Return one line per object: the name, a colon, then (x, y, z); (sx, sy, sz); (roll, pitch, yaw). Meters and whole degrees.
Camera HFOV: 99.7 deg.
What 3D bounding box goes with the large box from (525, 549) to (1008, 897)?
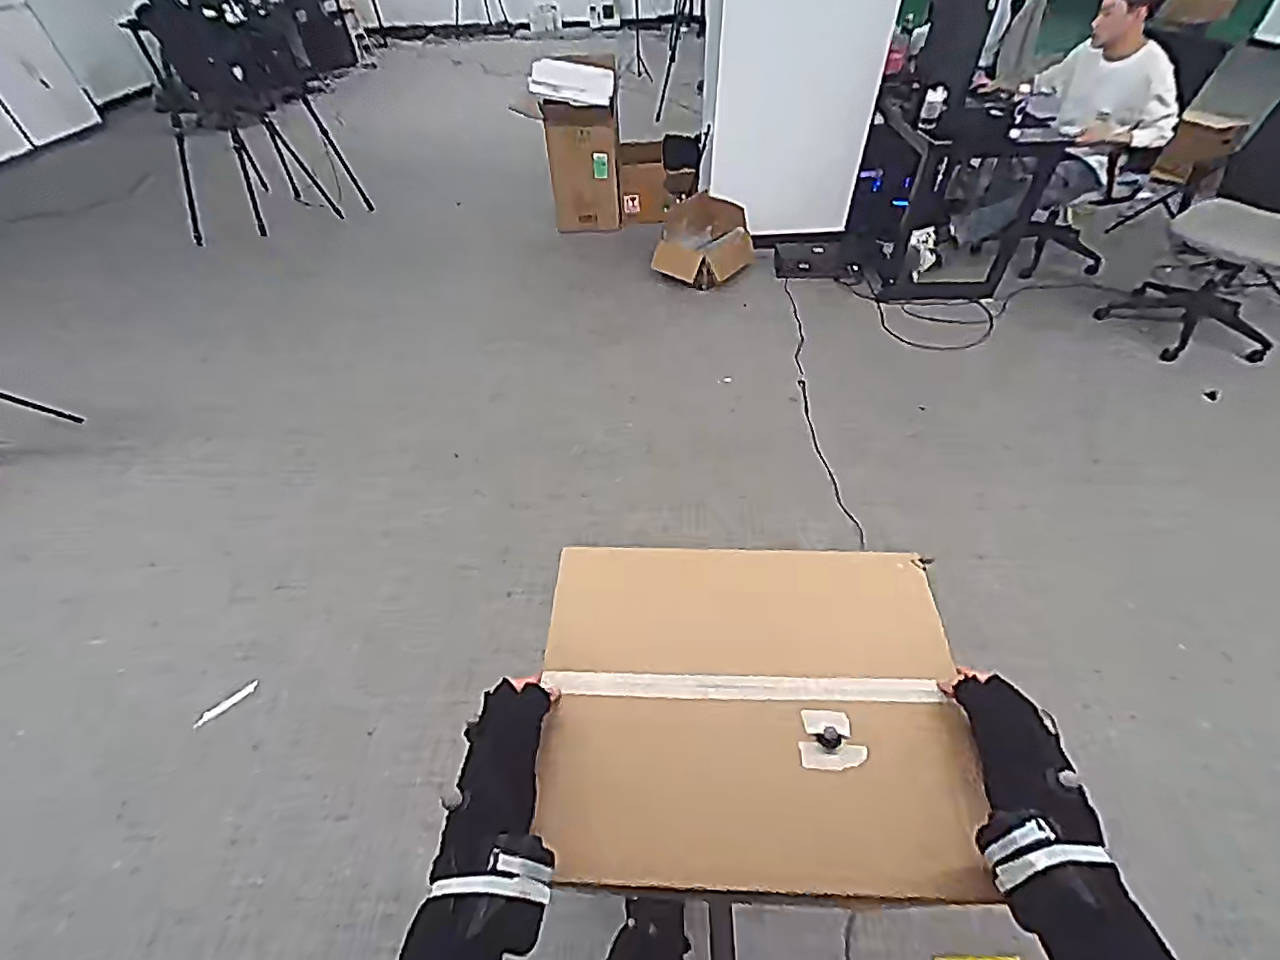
large box: (0.107, 0.295, 0.648); (0.408, 0.320, 0.320); (1, 51, 3)
